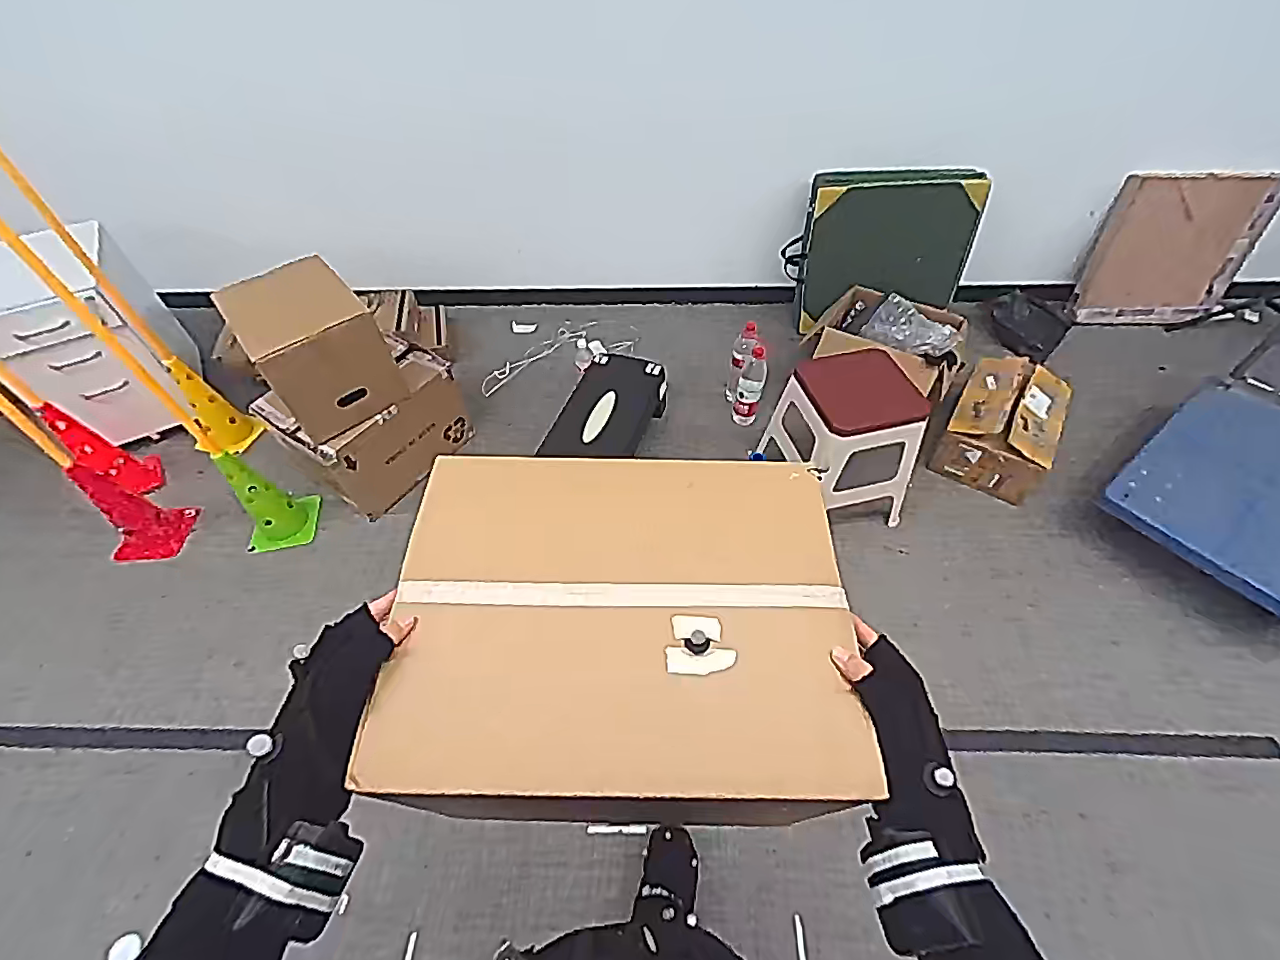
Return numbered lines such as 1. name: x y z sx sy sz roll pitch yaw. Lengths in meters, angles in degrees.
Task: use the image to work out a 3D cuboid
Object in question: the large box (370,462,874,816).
1. large box: -0.016 0.193 0.626 0.408 0.320 0.320 1 54 0
